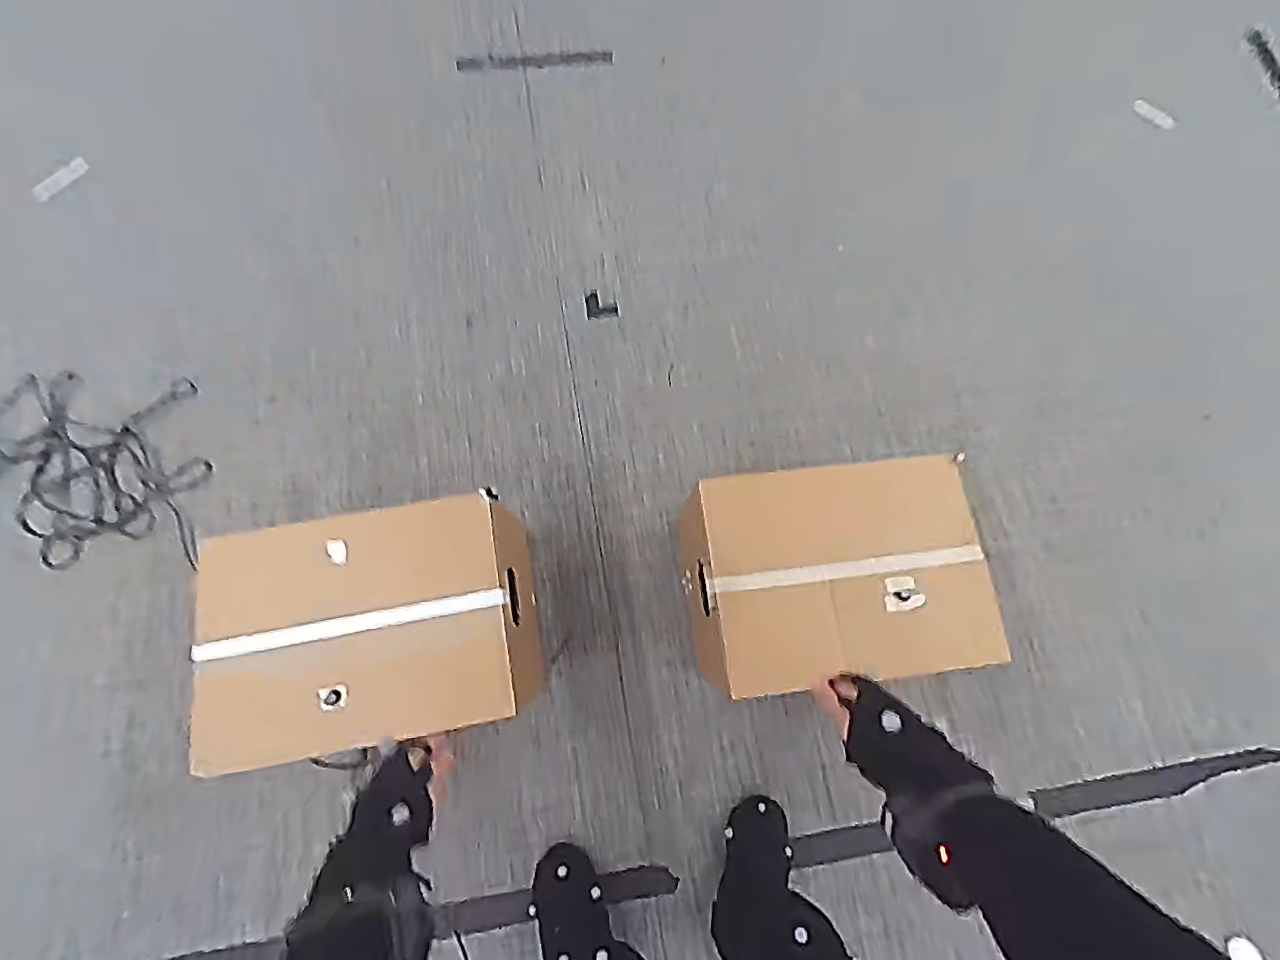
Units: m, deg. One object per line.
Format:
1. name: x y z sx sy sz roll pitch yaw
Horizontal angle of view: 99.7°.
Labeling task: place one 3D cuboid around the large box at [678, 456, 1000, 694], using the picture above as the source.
1. large box: 0.298 0.170 0.944 0.408 0.320 0.320 -6 75 -5
